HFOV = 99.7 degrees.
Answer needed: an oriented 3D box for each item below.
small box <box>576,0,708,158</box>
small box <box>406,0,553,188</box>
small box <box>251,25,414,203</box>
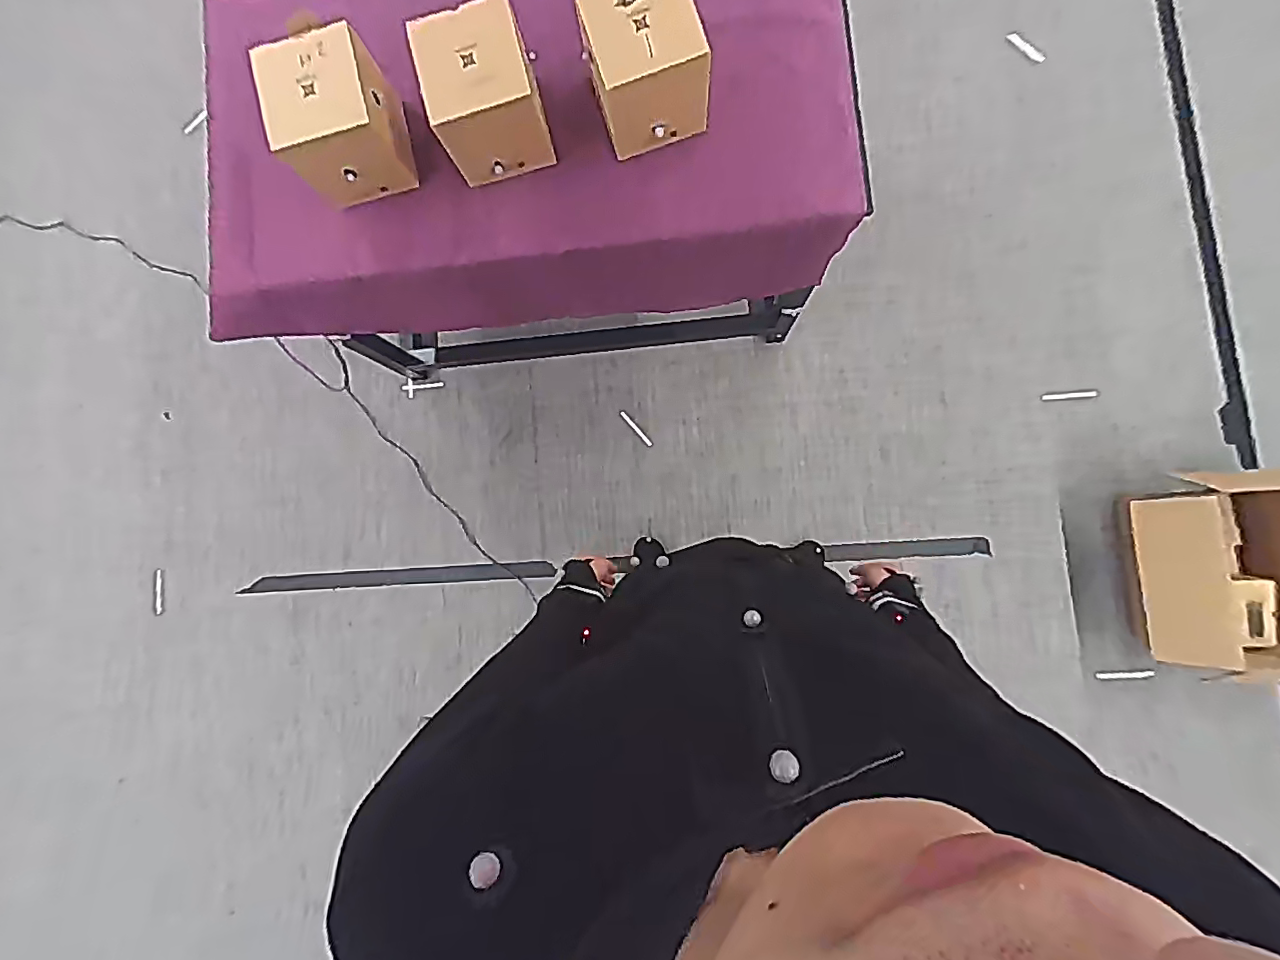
[{"bbox_3d":[0.005,-0.679,0.886,0.168,0.176,0.179,-18,86,3],"label":"small box"},{"bbox_3d":[-0.258,-0.635,0.904,0.168,0.176,0.179,-15,85,4],"label":"small box"},{"bbox_3d":[-0.509,-0.602,0.919,0.168,0.176,0.179,-14,85,2],"label":"small box"}]
